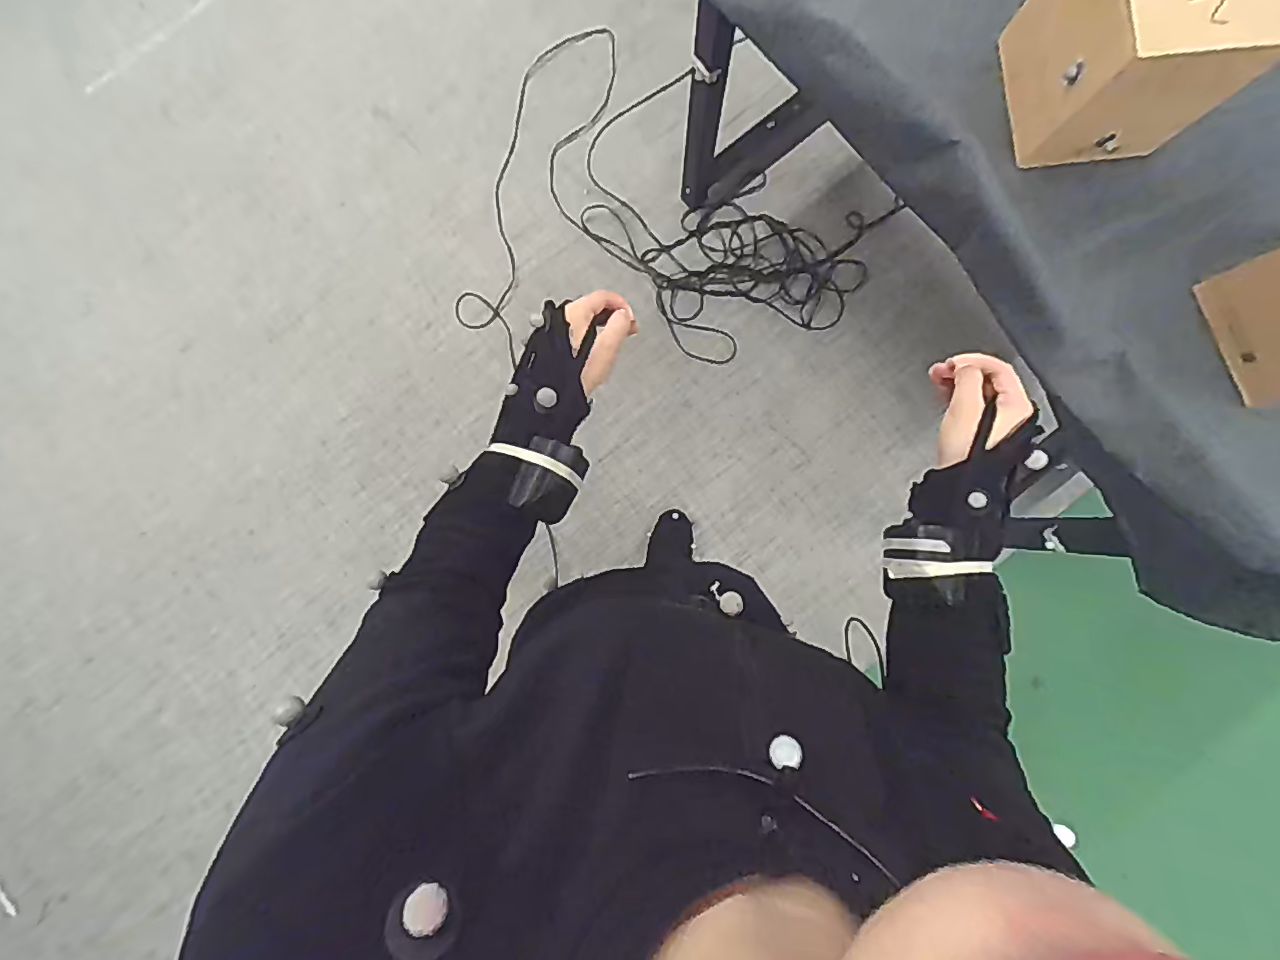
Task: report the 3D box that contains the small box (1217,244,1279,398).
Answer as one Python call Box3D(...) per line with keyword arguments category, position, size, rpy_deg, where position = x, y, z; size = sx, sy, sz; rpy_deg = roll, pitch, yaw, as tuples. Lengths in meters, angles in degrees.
Box3D(category="small box", position=(0.779, -0.200, 0.567), size=(0.179, 0.176, 0.168), rpy_deg=(-20, 86, -2))
